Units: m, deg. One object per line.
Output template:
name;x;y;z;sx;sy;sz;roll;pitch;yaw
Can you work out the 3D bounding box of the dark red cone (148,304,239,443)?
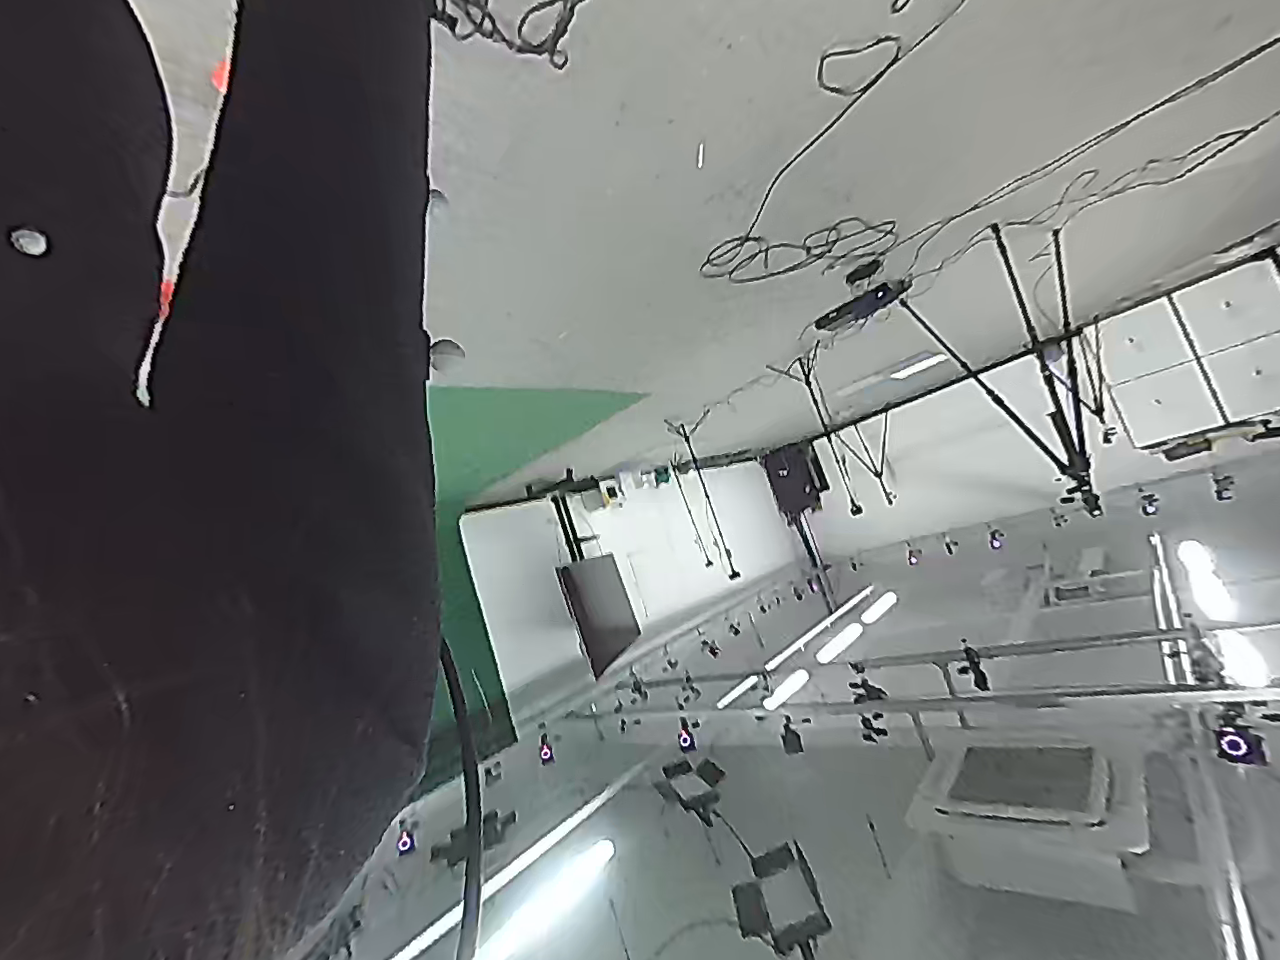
dark red cone;-1.219;-0.293;1.521;0.202;0.394;0.201;-12;172;-41
